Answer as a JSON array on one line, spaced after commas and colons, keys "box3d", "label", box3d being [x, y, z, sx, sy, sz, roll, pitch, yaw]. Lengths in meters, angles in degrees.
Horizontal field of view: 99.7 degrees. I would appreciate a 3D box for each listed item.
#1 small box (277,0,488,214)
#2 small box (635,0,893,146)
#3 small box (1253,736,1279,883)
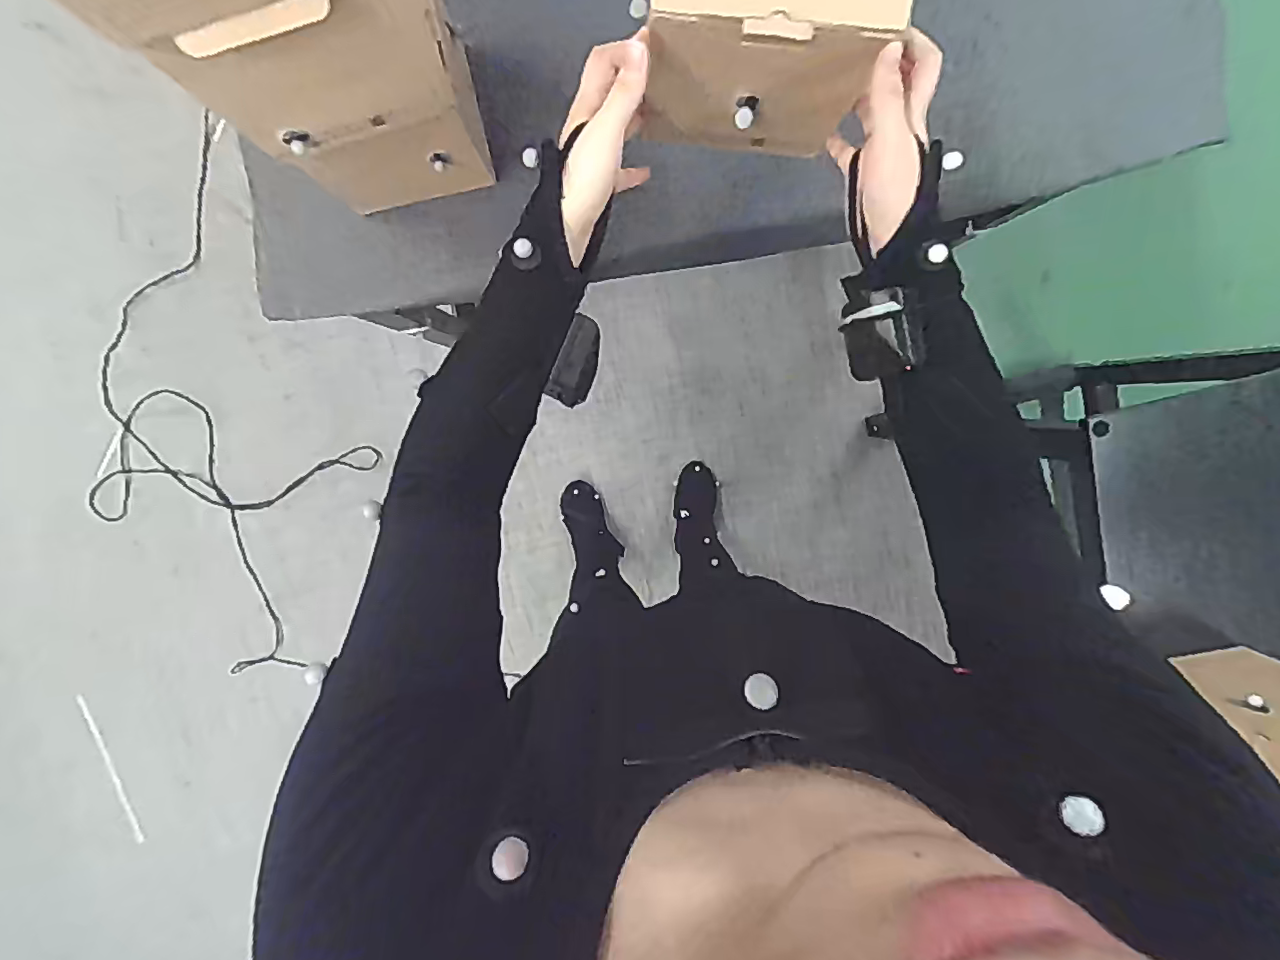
[{"box3d": [-0.275, -0.413, 0.578, 0.179, 0.176, 0.168, -14, 96, 2], "label": "small box"}, {"box3d": [0.086, -0.384, 0.412, 0.168, 0.176, 0.179, 4, 98, 0], "label": "small box"}, {"box3d": [0.790, 0.381, 0.541, 0.168, 0.176, 0.179, -2, 98, 0], "label": "small box"}]
